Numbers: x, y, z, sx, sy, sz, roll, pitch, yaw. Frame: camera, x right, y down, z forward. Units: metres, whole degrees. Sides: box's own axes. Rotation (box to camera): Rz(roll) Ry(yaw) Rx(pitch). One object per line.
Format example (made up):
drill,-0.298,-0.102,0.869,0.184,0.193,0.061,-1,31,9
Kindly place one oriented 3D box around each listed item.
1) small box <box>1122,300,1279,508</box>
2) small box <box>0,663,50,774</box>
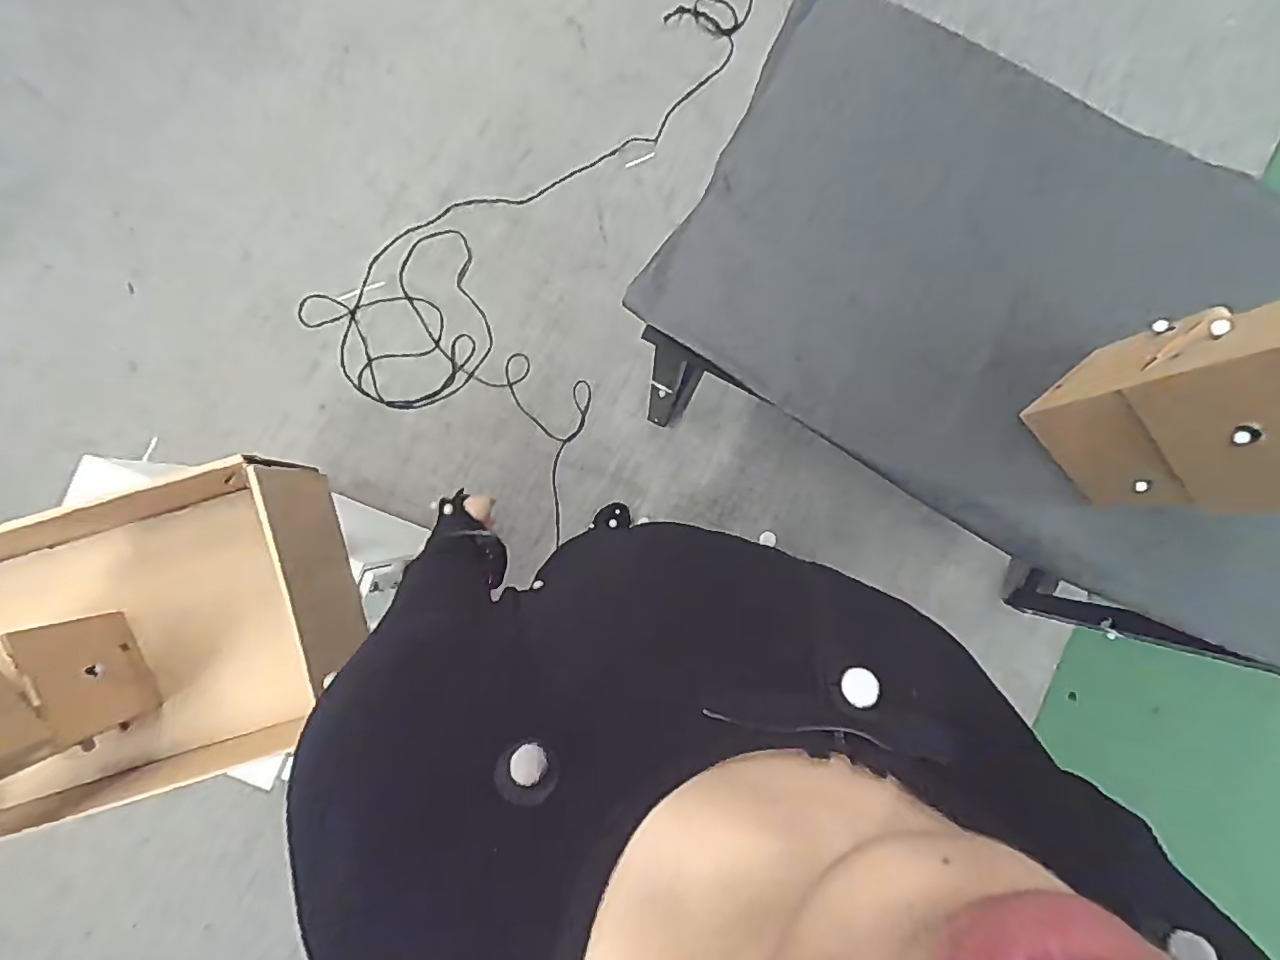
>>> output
small box,0.659,-0.082,0.539,0.168,0.176,0.179,-31,87,-3
small box,-0.850,0.296,0.598,0.168,0.176,0.179,-41,91,-3
